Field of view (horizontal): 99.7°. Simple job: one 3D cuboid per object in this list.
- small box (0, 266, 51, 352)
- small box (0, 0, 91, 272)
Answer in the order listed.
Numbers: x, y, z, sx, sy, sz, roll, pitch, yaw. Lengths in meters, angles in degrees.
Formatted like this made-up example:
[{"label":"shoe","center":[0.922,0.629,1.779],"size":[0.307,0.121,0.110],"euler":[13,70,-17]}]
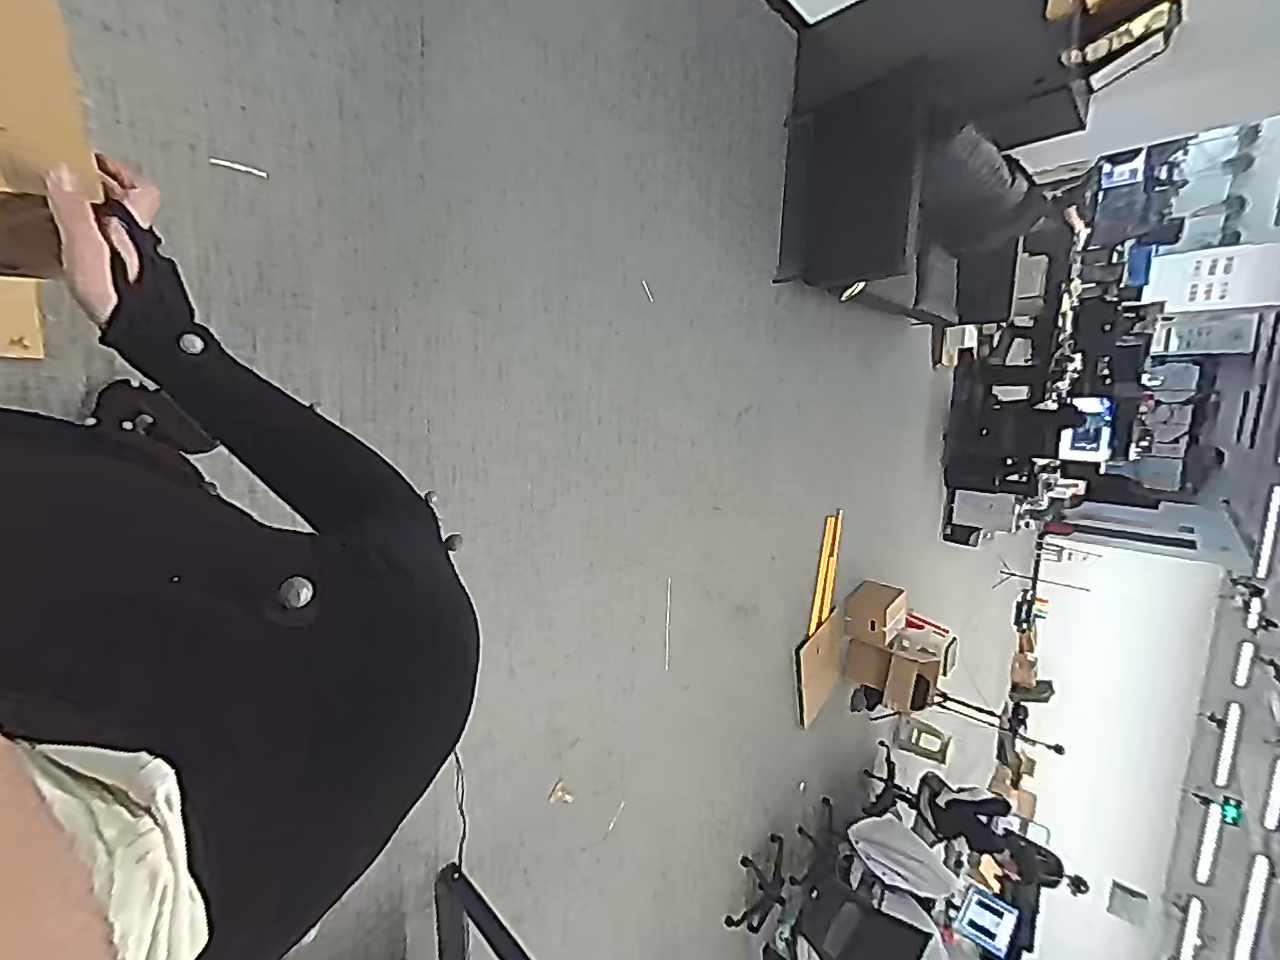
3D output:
[{"label":"small box","center":[-1.211,-0.338,0.991],"size":[0.168,0.176,0.179],"euler":[-4,100,-44]},{"label":"small box","center":[-0.550,-0.284,0.411],"size":[0.168,0.176,0.179],"euler":[-13,93,-45]}]
